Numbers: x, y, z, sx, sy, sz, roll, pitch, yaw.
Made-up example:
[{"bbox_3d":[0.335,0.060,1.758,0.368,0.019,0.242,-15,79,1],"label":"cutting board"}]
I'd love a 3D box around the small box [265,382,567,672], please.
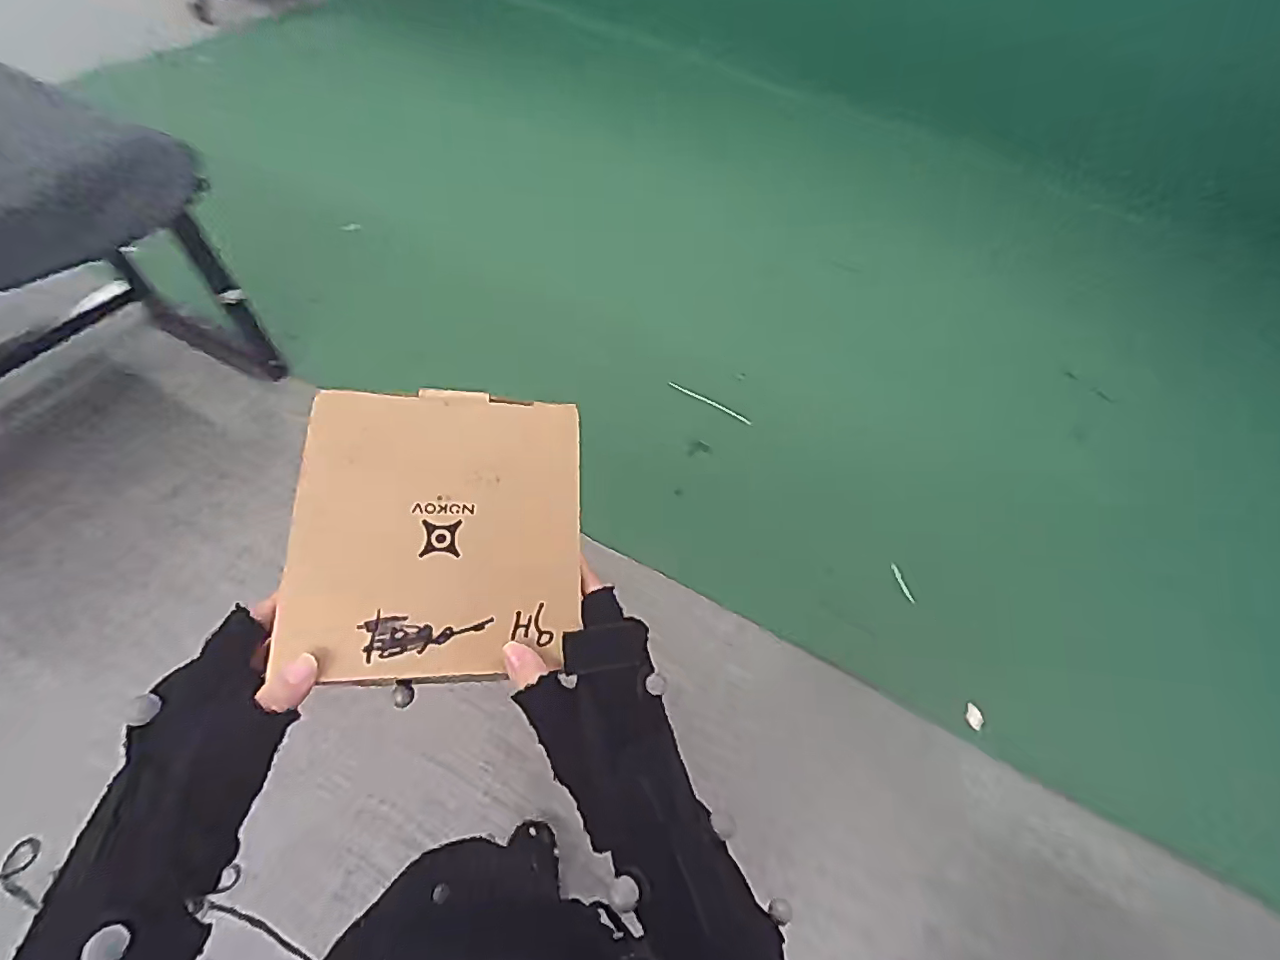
[{"bbox_3d":[-0.146,0.048,0.412,0.168,0.176,0.179,1,69,-12],"label":"small box"}]
